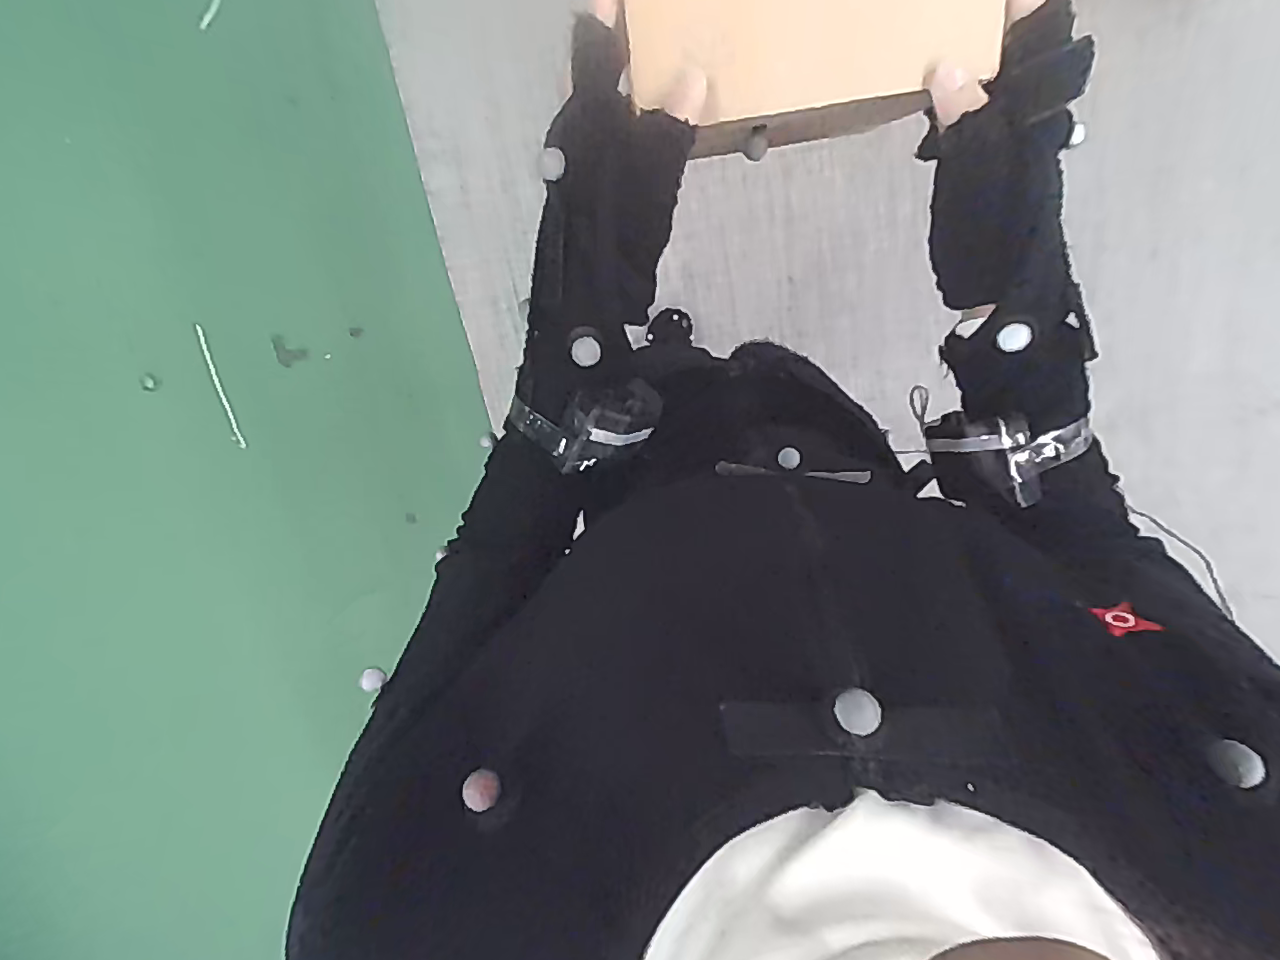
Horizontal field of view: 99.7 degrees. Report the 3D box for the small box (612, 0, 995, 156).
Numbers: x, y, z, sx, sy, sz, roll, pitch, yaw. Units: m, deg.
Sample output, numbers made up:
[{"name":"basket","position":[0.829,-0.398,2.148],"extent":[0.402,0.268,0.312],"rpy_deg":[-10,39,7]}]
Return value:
[{"name":"small box","position":[0.070,-0.302,0.307],"extent":[0.179,0.176,0.168],"rpy_deg":[-9,113,5]}]
